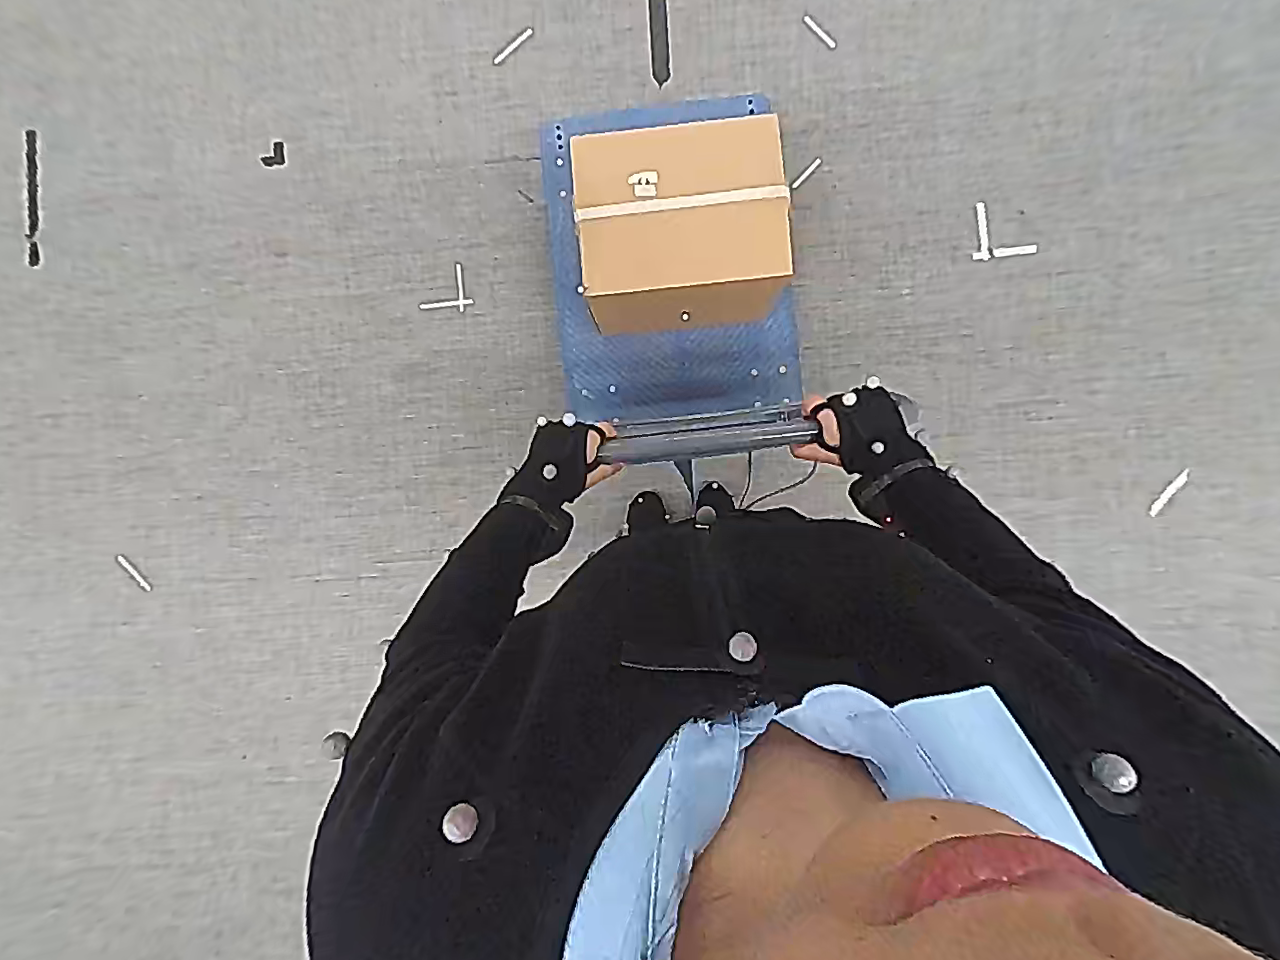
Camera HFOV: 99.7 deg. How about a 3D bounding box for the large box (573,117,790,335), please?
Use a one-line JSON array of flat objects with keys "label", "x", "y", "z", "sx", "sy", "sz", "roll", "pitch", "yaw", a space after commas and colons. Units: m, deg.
[{"label": "large box", "x": 0.089, "y": -0.535, "z": 1.208, "sx": 0.408, "sy": 0.320, "sz": 0.320, "roll": -6, "pitch": 89, "yaw": 3}]
